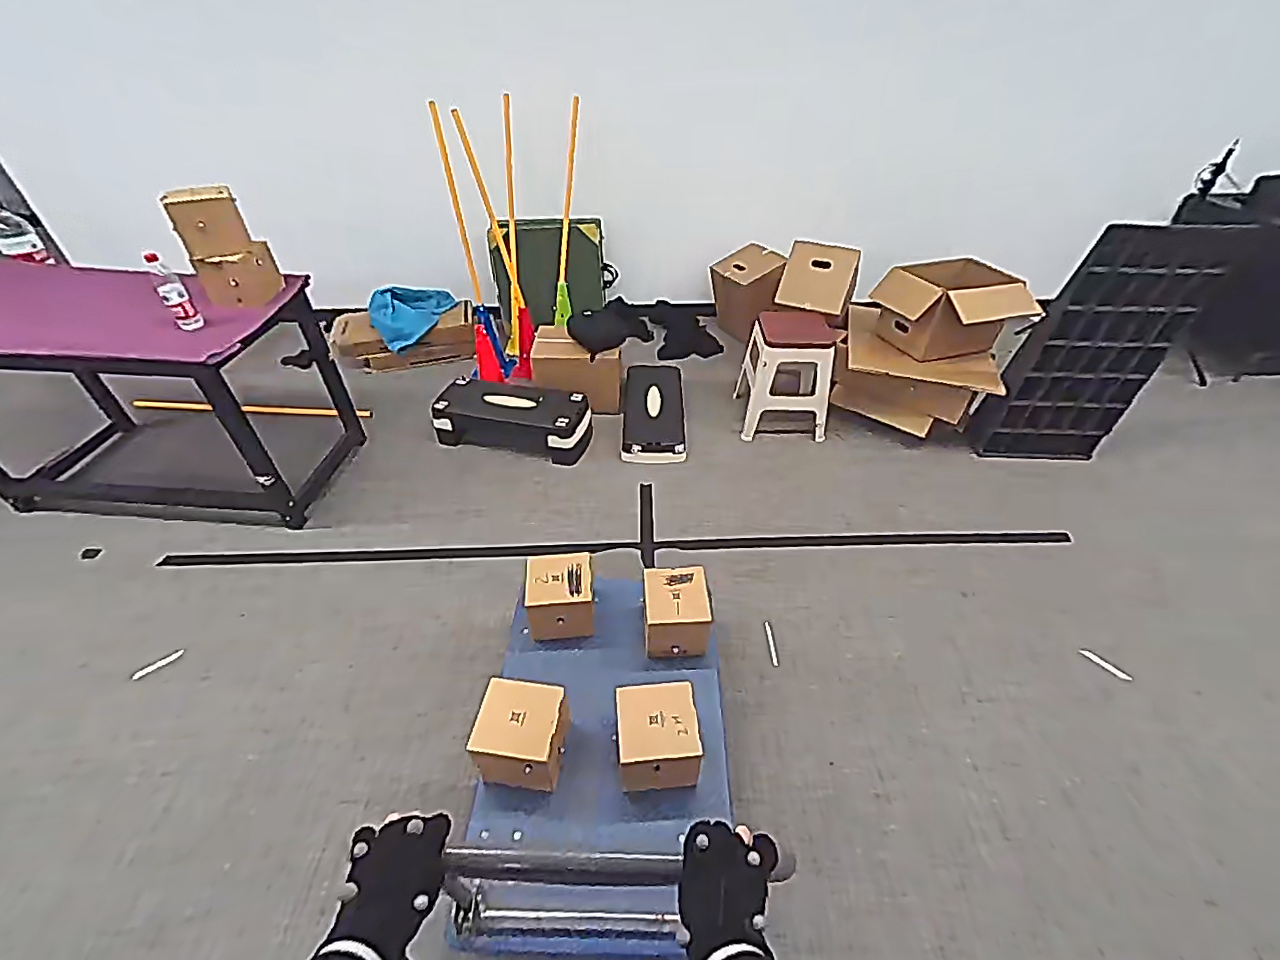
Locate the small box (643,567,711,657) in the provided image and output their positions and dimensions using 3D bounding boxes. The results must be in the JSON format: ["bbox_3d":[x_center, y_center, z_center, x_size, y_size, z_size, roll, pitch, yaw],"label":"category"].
[{"bbox_3d":[0.094,0.358,1.468,0.168,0.176,0.179,-2,43,-2],"label":"small box"}]

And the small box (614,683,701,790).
[{"bbox_3d":[0.036,0.581,1.221,0.179,0.176,0.168,-3,42,-4],"label":"small box"}]

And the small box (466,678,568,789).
[{"bbox_3d":[-0.269,0.576,1.225,0.179,0.176,0.168,6,42,4],"label":"small box"}]
